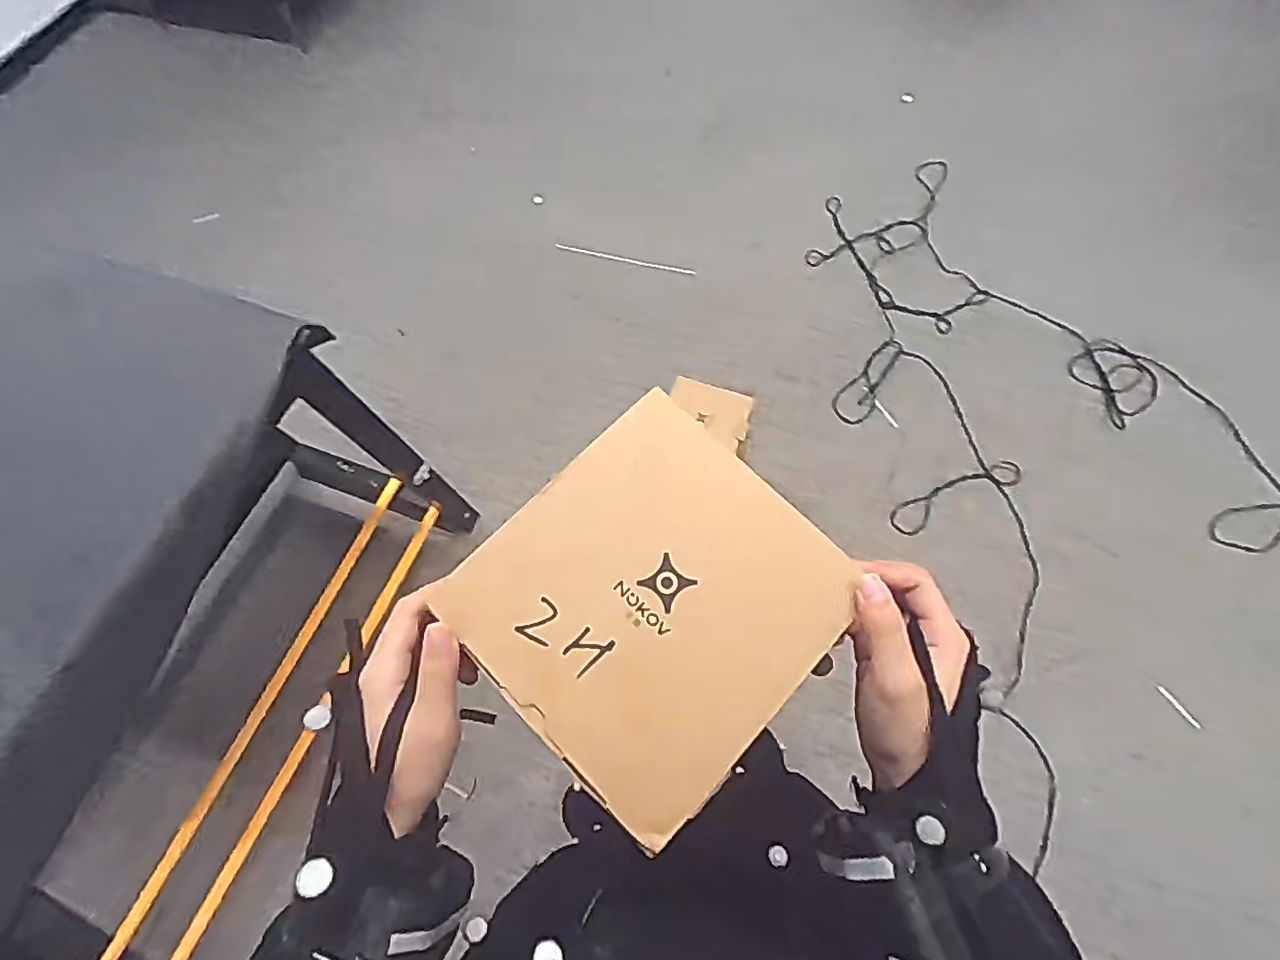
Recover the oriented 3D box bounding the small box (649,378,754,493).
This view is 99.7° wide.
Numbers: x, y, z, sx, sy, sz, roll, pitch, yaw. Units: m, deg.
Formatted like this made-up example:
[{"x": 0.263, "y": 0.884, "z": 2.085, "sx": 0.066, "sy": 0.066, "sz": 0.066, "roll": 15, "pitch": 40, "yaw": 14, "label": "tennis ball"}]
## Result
[{"x": 0.134, "y": -0.089, "z": 1.180, "sx": 0.179, "sy": 0.176, "sz": 0.168, "roll": 18, "pitch": 68, "yaw": 13, "label": "small box"}]
